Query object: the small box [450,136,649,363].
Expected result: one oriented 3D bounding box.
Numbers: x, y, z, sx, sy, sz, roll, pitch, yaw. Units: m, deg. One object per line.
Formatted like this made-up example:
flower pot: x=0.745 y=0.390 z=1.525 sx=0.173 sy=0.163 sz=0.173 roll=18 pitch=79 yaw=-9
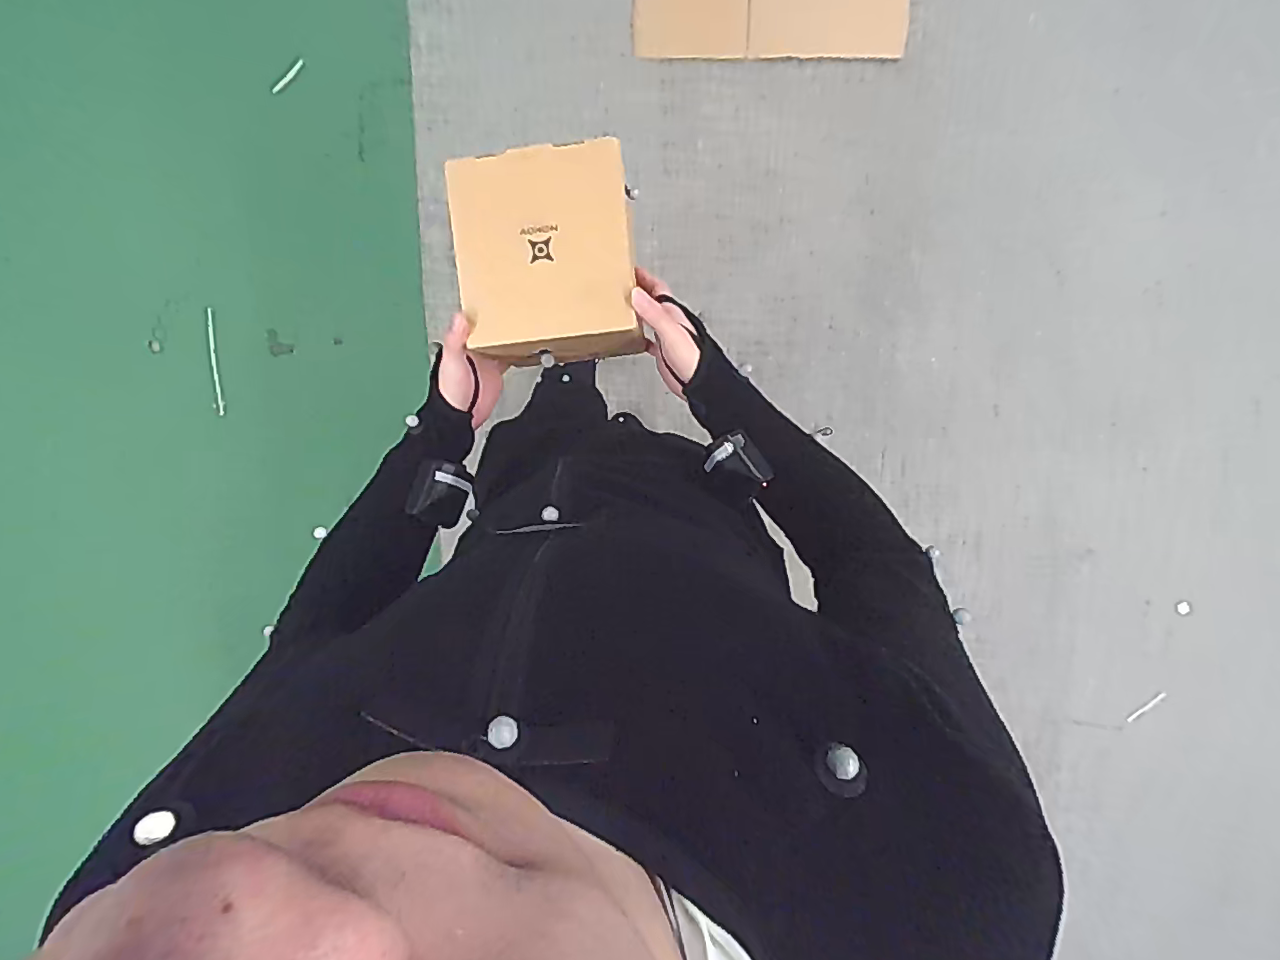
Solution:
small box: x=-0.081 y=-0.224 z=0.578 sx=0.168 sy=0.176 sz=0.179 roll=-5 pitch=94 yaw=4
